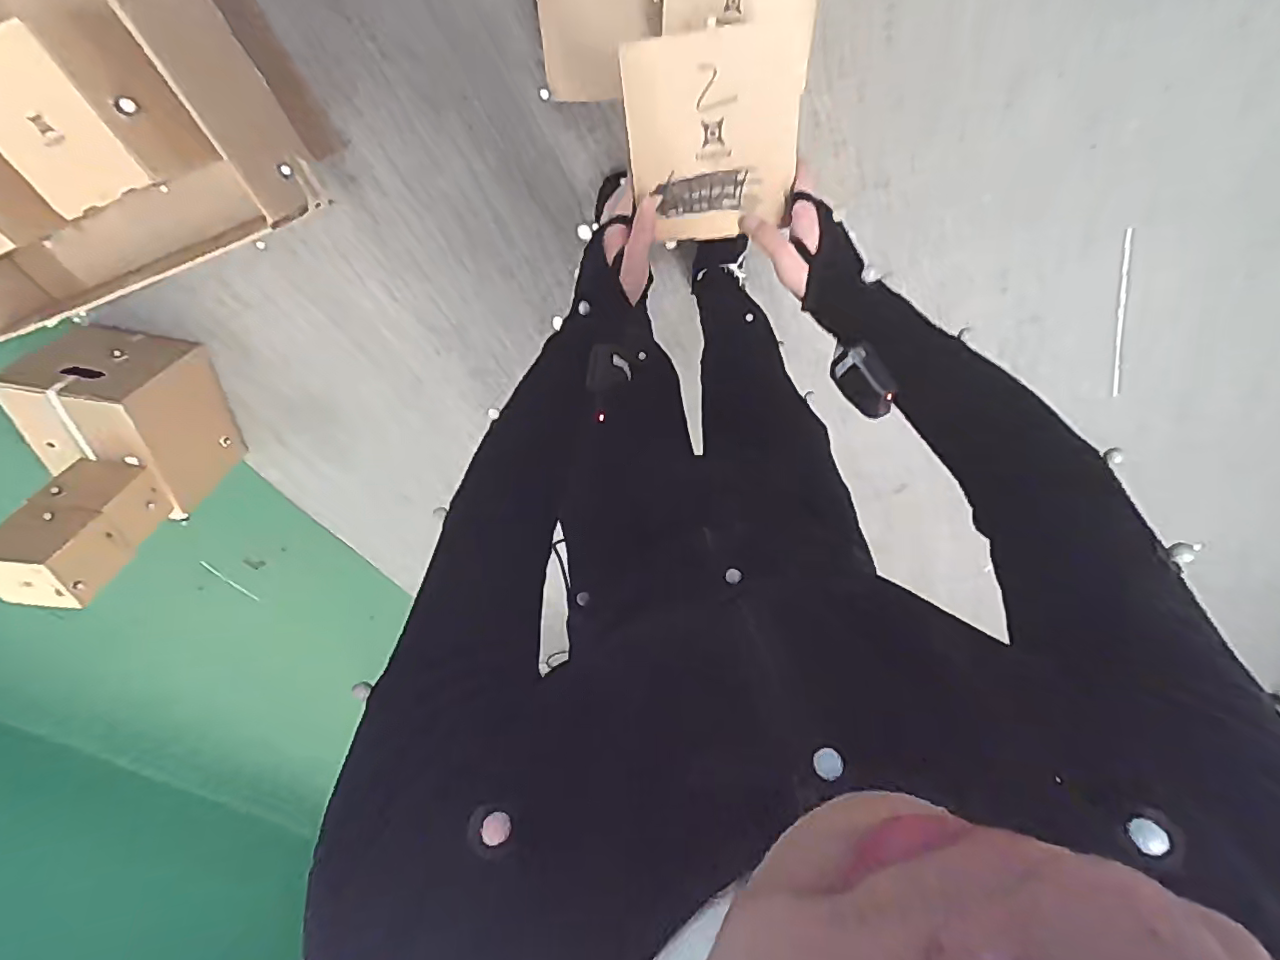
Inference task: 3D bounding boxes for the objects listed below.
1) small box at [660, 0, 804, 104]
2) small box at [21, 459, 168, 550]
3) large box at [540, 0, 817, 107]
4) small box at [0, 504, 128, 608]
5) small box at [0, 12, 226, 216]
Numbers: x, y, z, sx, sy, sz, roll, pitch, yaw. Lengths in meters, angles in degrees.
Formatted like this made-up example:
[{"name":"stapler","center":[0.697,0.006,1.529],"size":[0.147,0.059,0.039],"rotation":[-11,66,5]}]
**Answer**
[{"name":"small box","center":[0.116,-0.613,0.704],"size":[0.168,0.176,0.179],"rotation":[3,133,1]},{"name":"small box","center":[-1.389,0.065,1.393],"size":[0.179,0.176,0.168],"rotation":[8,132,-5]},{"name":"large box","center":[0.061,-0.812,0.859],"size":[0.408,0.320,0.320],"rotation":[1,131,4]},{"name":"small box","center":[-1.384,0.174,1.271],"size":[0.179,0.176,0.168],"rotation":[8,131,-4]},{"name":"small box","center":[-0.725,-0.489,0.724],"size":[0.168,0.176,0.179],"rotation":[-12,131,13]}]
